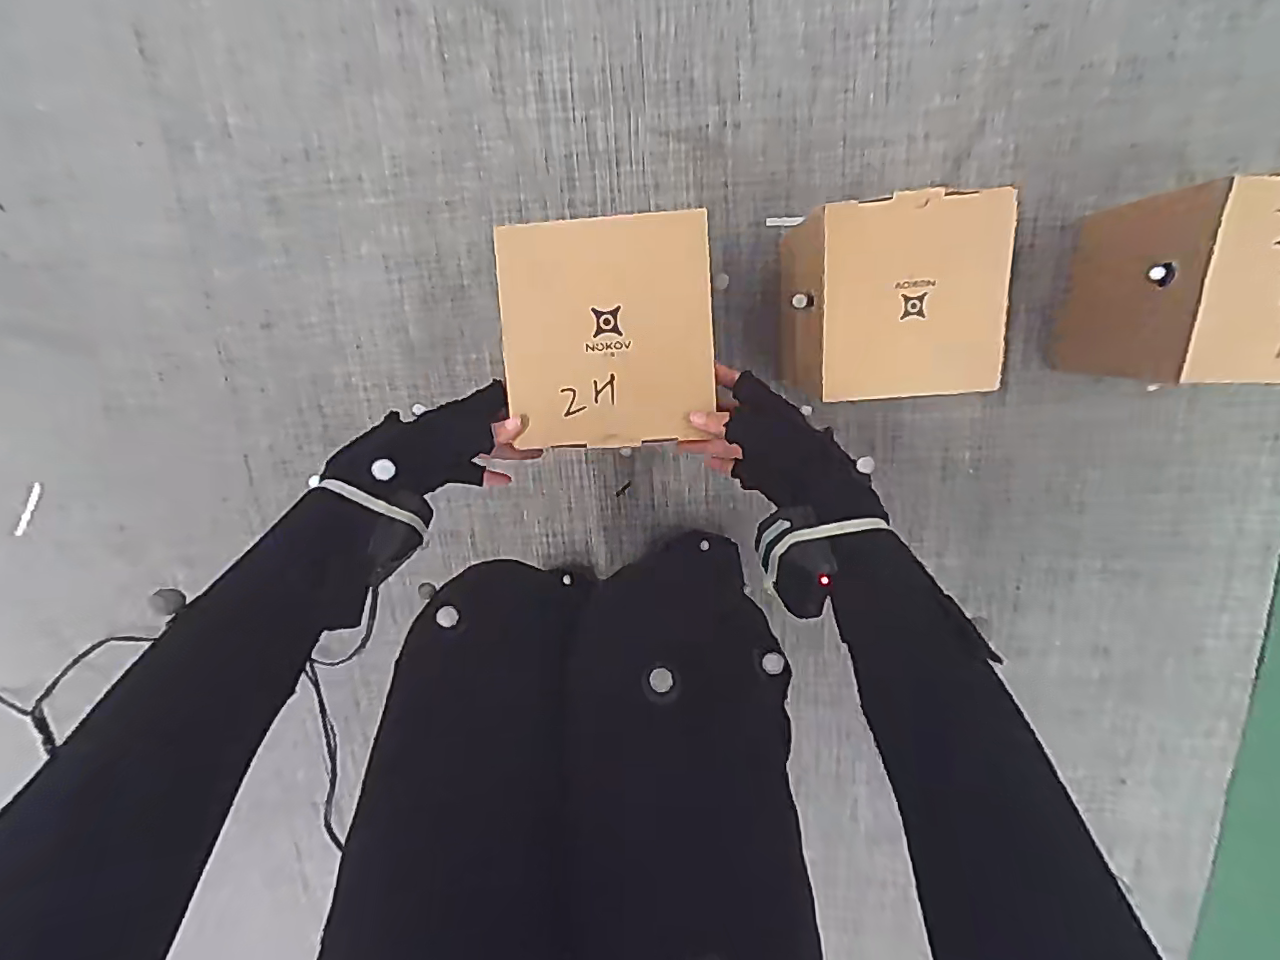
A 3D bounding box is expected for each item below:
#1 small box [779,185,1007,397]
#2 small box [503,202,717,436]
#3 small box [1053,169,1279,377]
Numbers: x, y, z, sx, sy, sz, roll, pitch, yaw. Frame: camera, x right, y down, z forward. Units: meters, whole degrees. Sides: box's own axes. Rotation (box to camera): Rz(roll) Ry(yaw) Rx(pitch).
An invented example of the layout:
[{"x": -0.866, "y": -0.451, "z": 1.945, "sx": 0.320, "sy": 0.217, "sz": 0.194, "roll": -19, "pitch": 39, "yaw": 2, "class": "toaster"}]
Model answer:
[{"x": 0.248, "y": -0.188, "z": 0.573, "sx": 0.168, "sy": 0.176, "sz": 0.179, "roll": -4, "pitch": 103, "yaw": 3, "class": "small box"}, {"x": -0.019, "y": -0.133, "z": 0.508, "sx": 0.168, "sy": 0.176, "sz": 0.179, "roll": -3, "pitch": 97, "yaw": 4, "class": "small box"}, {"x": 0.573, "y": -0.199, "z": 0.557, "sx": 0.168, "sy": 0.176, "sz": 0.179, "roll": 0, "pitch": 105, "yaw": 3, "class": "small box"}]
